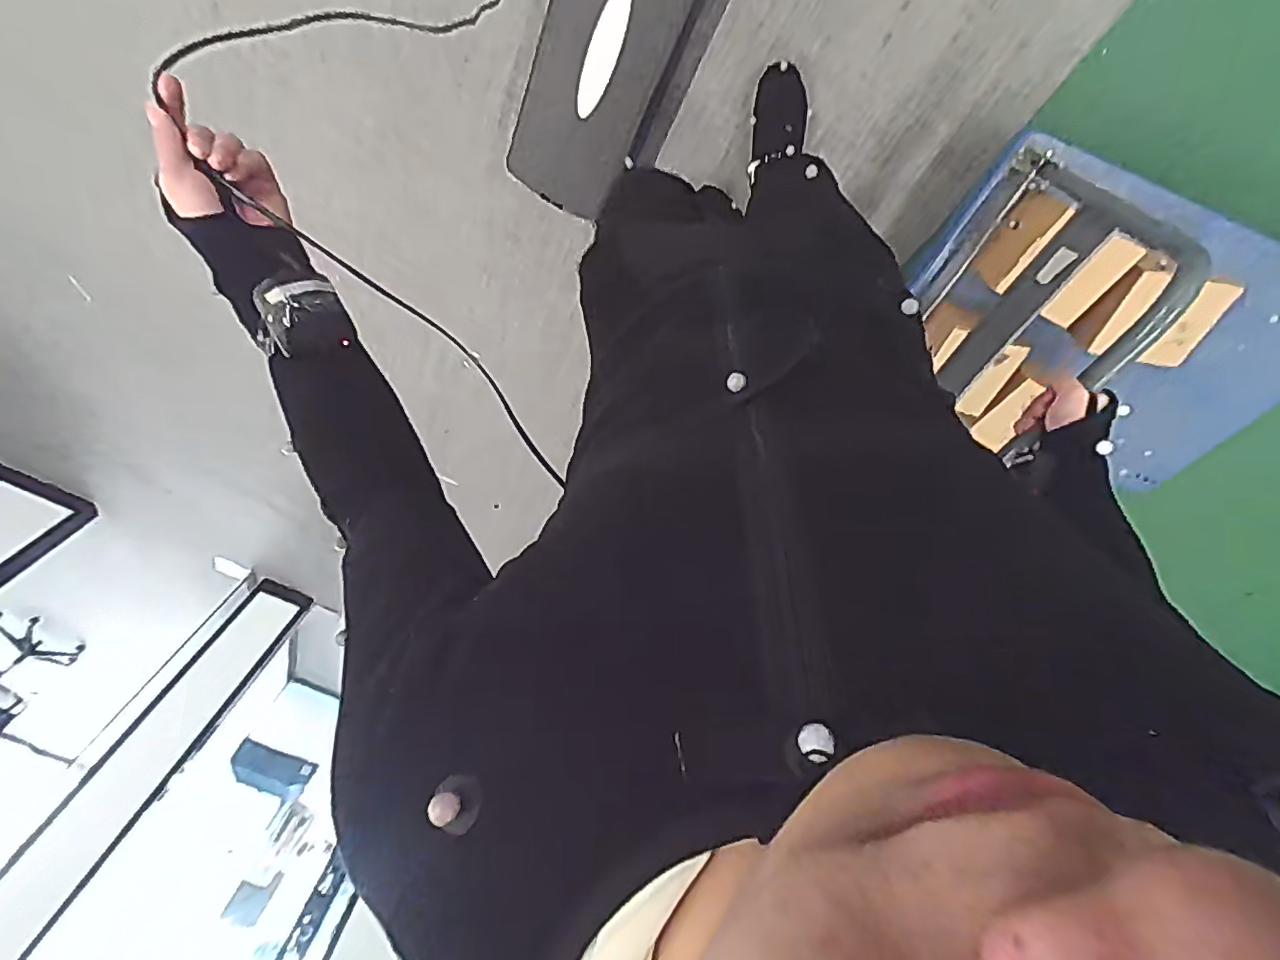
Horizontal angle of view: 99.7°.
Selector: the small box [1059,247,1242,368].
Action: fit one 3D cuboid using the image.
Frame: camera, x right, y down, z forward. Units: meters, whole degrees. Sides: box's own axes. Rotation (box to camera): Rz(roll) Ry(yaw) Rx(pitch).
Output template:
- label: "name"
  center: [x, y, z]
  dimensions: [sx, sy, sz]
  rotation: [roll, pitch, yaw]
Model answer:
- label: "small box"
  center: [0.997, -0.350, 1.082]
  dimensions: [0.179, 0.176, 0.168]
  rotation: [12, 132, 4]
